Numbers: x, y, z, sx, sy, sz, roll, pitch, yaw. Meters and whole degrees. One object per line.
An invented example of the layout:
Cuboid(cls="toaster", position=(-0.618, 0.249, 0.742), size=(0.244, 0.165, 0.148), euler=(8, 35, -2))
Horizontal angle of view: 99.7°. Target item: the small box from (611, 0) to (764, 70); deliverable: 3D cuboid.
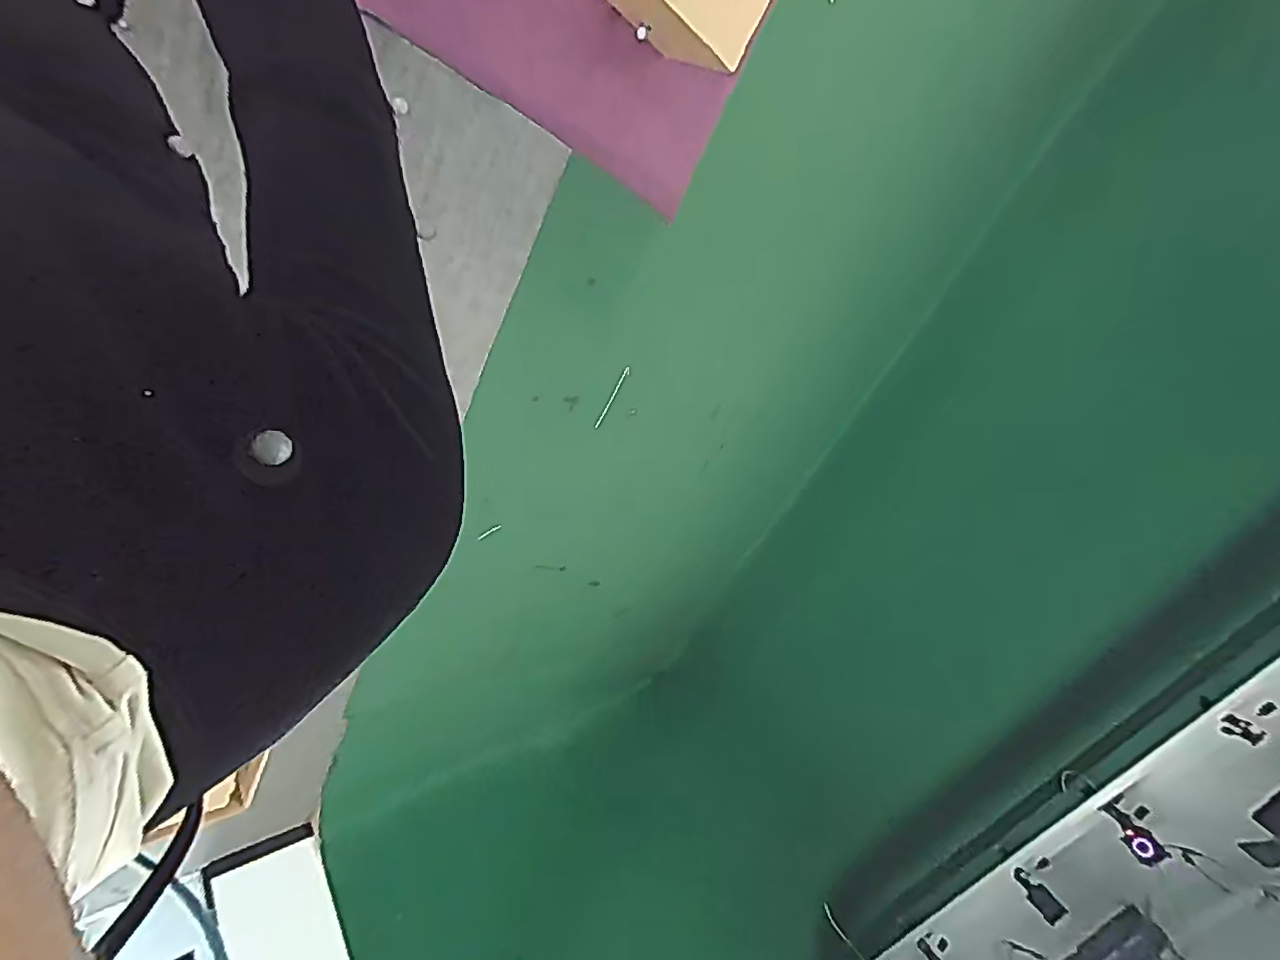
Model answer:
Cuboid(cls="small box", position=(0.065, -0.712, 0.738), size=(0.179, 0.176, 0.168), euler=(2, 125, -48))

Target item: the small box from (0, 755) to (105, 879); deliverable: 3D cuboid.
Cuboid(cls="small box", position=(-1.454, 0.826, 1.340), size=(0.168, 0.176, 0.179), euler=(6, 121, -49))

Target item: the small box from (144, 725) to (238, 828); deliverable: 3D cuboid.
Cuboid(cls="small box", position=(-1.278, 0.831, 1.536), size=(0.179, 0.176, 0.168), euler=(4, 123, -48))
